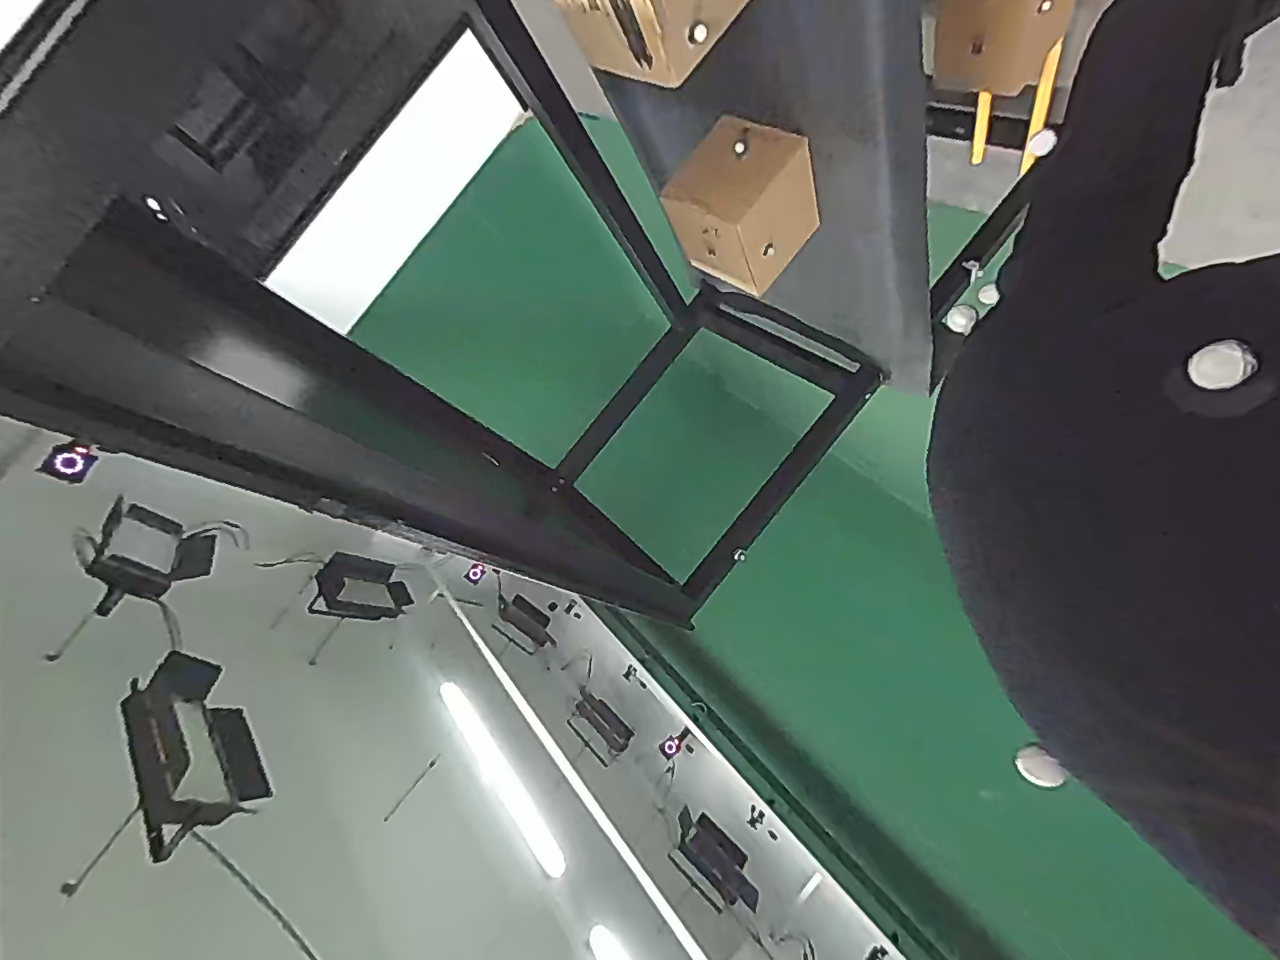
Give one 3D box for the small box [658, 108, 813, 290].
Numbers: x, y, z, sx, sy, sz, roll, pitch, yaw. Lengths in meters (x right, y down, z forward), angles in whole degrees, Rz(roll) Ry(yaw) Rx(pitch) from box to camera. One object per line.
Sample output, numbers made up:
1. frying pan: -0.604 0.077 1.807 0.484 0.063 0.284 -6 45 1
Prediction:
1. small box: 0.165 -0.459 0.891 0.168 0.176 0.179 39 180 30
